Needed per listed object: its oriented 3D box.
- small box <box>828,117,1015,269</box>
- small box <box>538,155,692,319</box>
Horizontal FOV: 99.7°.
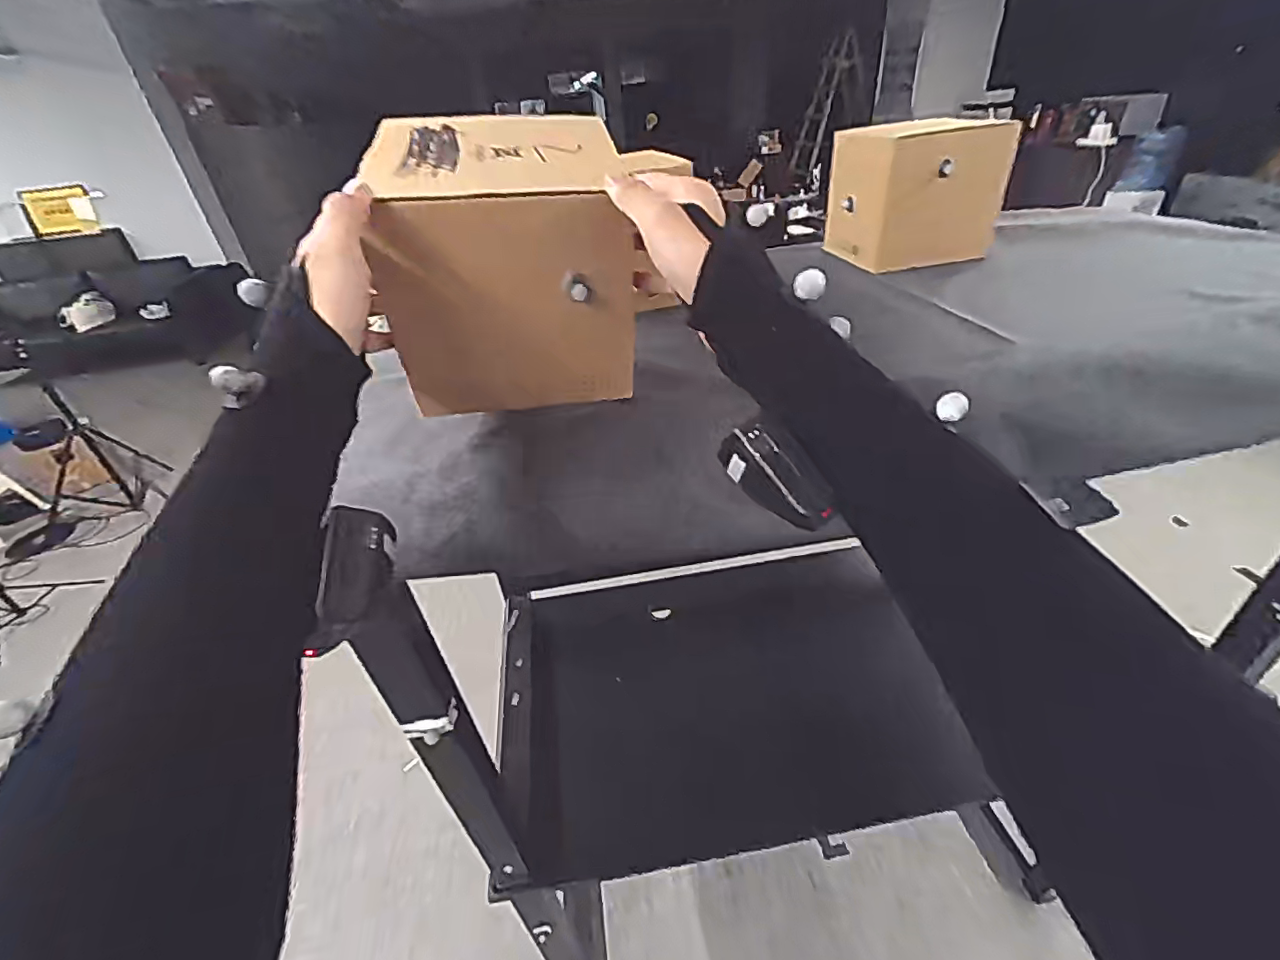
[{"bbox_3d":[0.388,-0.416,0.786,0.179,0.176,0.168,-9,36,-4],"label":"small box"},{"bbox_3d":[-0.035,-0.333,0.736,0.168,0.176,0.179,-14,36,-9],"label":"small box"}]
